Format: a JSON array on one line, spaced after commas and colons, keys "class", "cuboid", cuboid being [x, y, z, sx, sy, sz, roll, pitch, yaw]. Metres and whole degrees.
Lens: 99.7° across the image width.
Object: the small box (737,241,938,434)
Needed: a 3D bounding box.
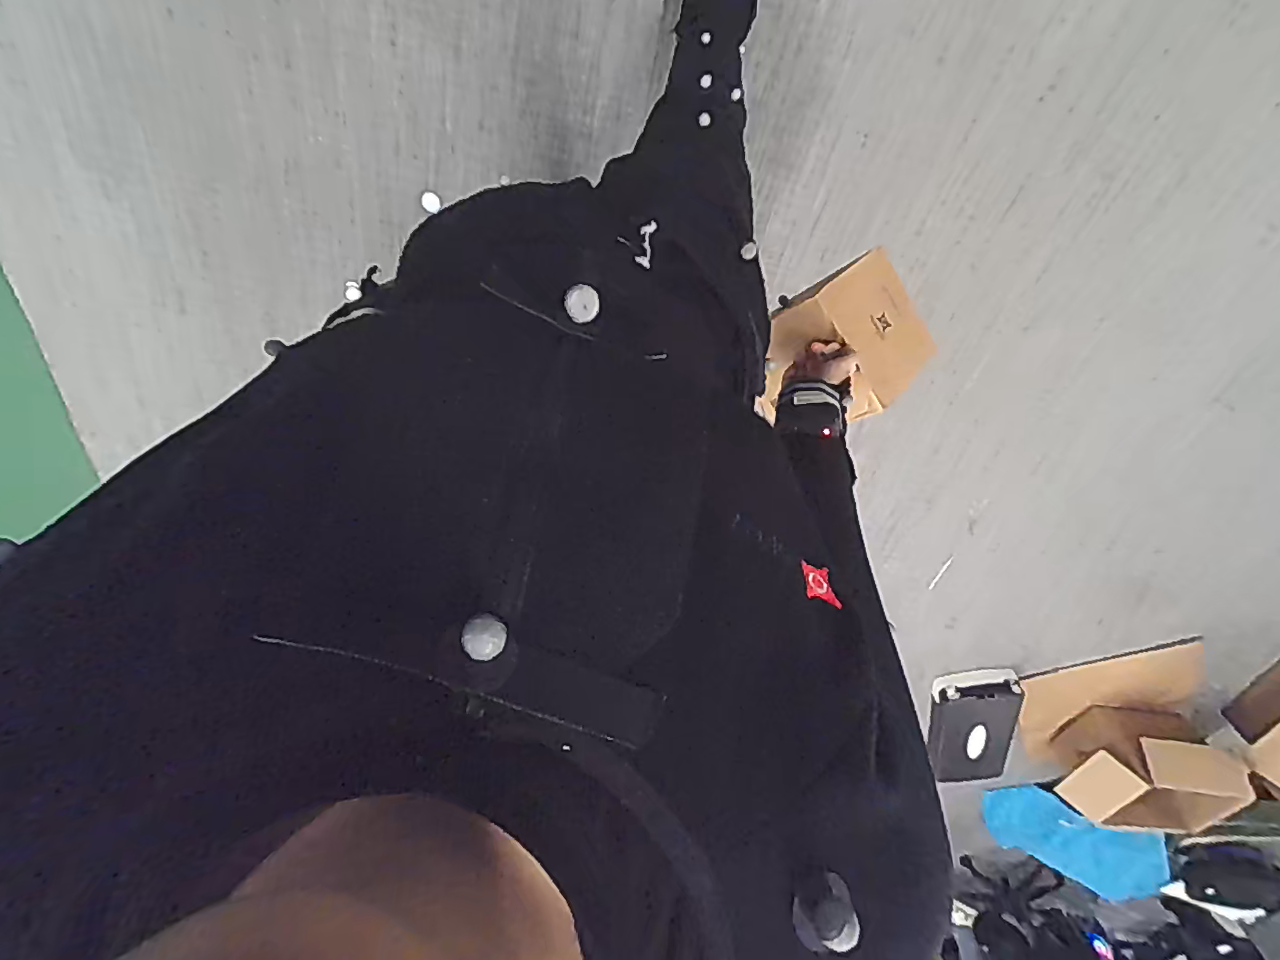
[{"class": "small box", "cuboid": [0.259, -0.184, 0.738, 0.168, 0.179, 0.176, 55, 148, -10]}]
